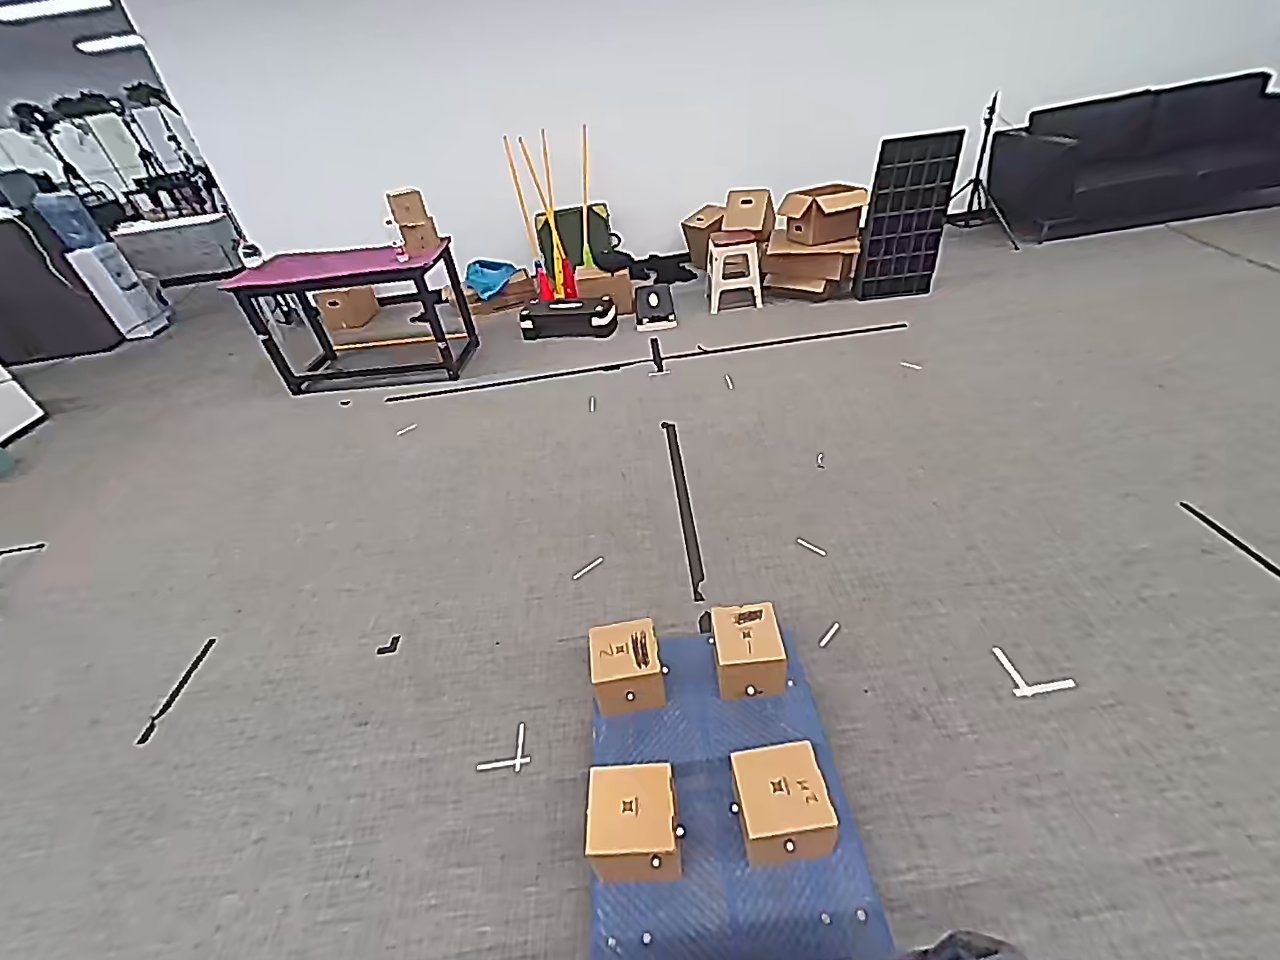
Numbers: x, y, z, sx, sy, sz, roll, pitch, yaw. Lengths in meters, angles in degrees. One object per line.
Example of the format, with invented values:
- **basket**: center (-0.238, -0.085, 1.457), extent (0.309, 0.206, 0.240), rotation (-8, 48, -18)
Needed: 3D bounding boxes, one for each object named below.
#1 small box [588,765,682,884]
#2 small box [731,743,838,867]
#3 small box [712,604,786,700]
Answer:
- **small box**: center (-0.008, 0.731, 1.147), extent (0.179, 0.176, 0.168), rotation (-5, 38, 2)
- **small box**: center (0.299, 0.687, 1.141), extent (0.179, 0.176, 0.168), rotation (-9, 38, 0)
- **small box**: center (0.284, 0.457, 1.436), extent (0.168, 0.176, 0.179), rotation (-7, 39, 3)
